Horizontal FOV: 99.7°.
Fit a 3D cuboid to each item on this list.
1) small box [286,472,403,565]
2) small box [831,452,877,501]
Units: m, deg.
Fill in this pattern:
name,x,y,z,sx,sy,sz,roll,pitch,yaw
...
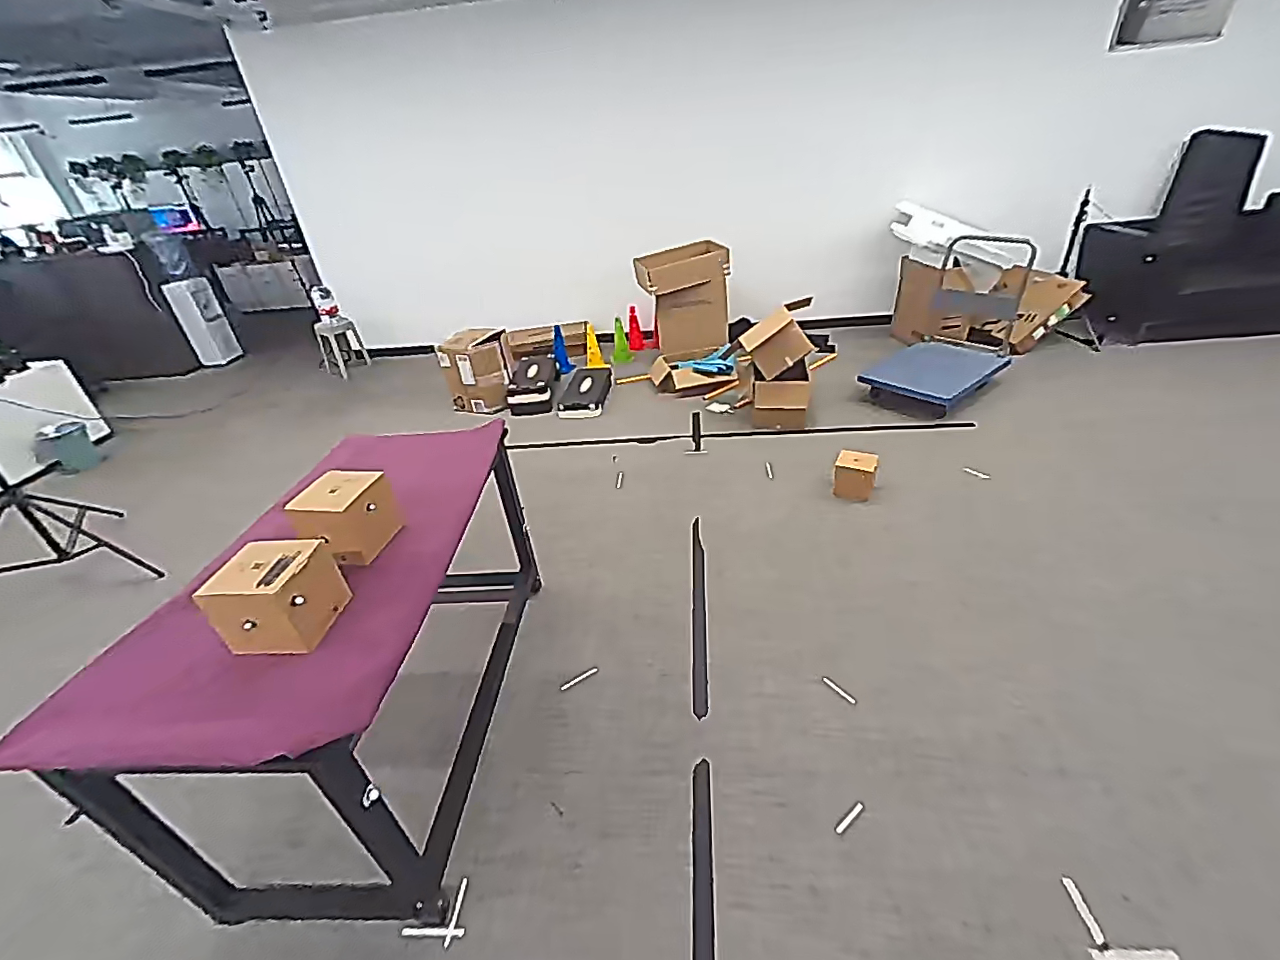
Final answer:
name,x,y,z,sx,sy,sz,roll,pitch,yaw
small box,-0.732,0.096,1.363,0.168,0.176,0.179,2,32,11
small box,1.046,-0.015,2.644,0.179,0.176,0.168,13,36,26
